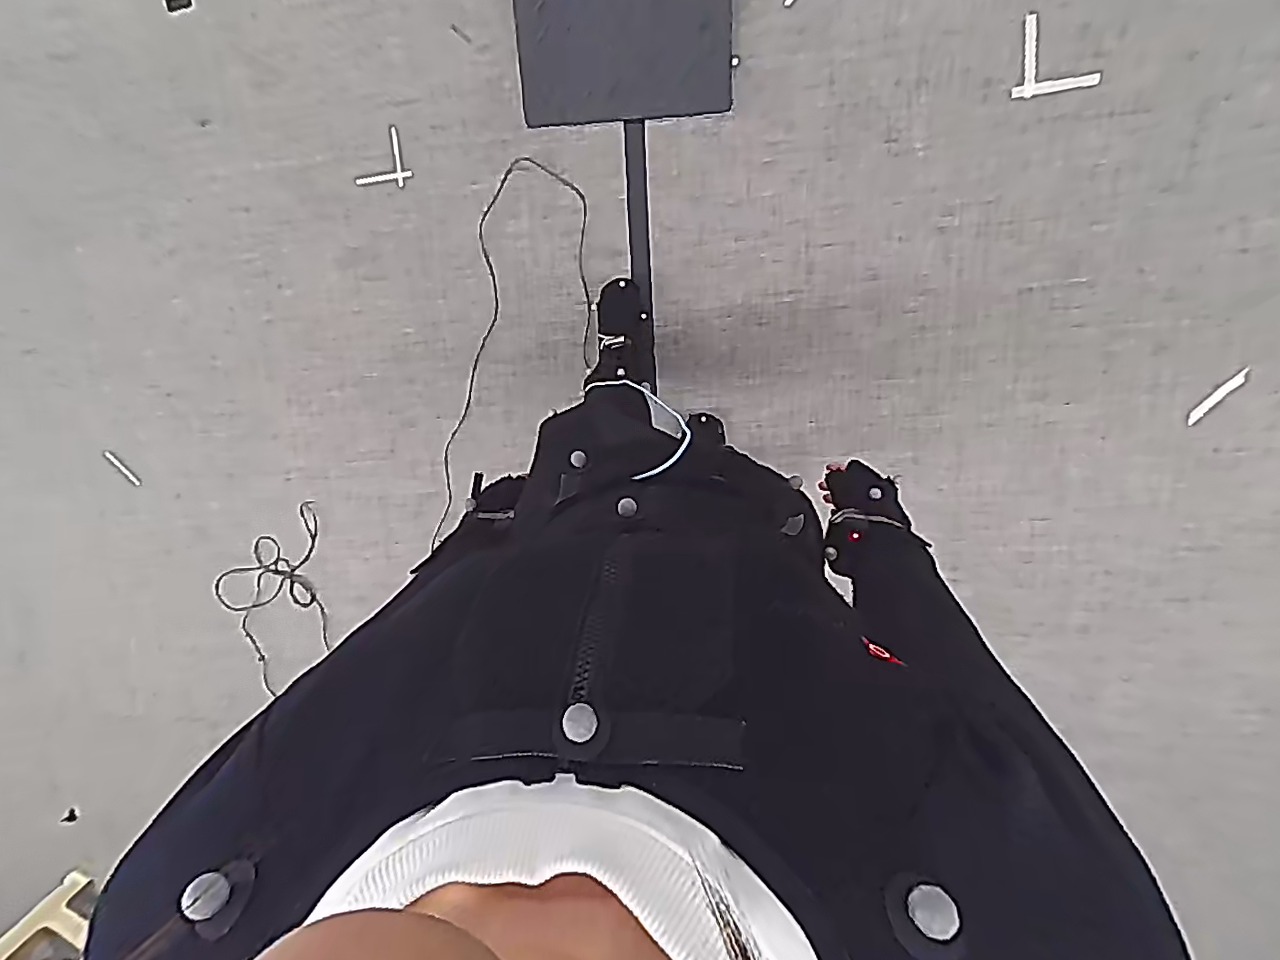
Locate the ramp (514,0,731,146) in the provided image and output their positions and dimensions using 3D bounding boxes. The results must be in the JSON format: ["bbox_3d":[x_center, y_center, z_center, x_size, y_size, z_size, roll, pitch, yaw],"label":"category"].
[{"bbox_3d":[-0.059,-1.300,1.136,0.509,0.206,0.991,-3,100,7],"label":"ramp"}]
